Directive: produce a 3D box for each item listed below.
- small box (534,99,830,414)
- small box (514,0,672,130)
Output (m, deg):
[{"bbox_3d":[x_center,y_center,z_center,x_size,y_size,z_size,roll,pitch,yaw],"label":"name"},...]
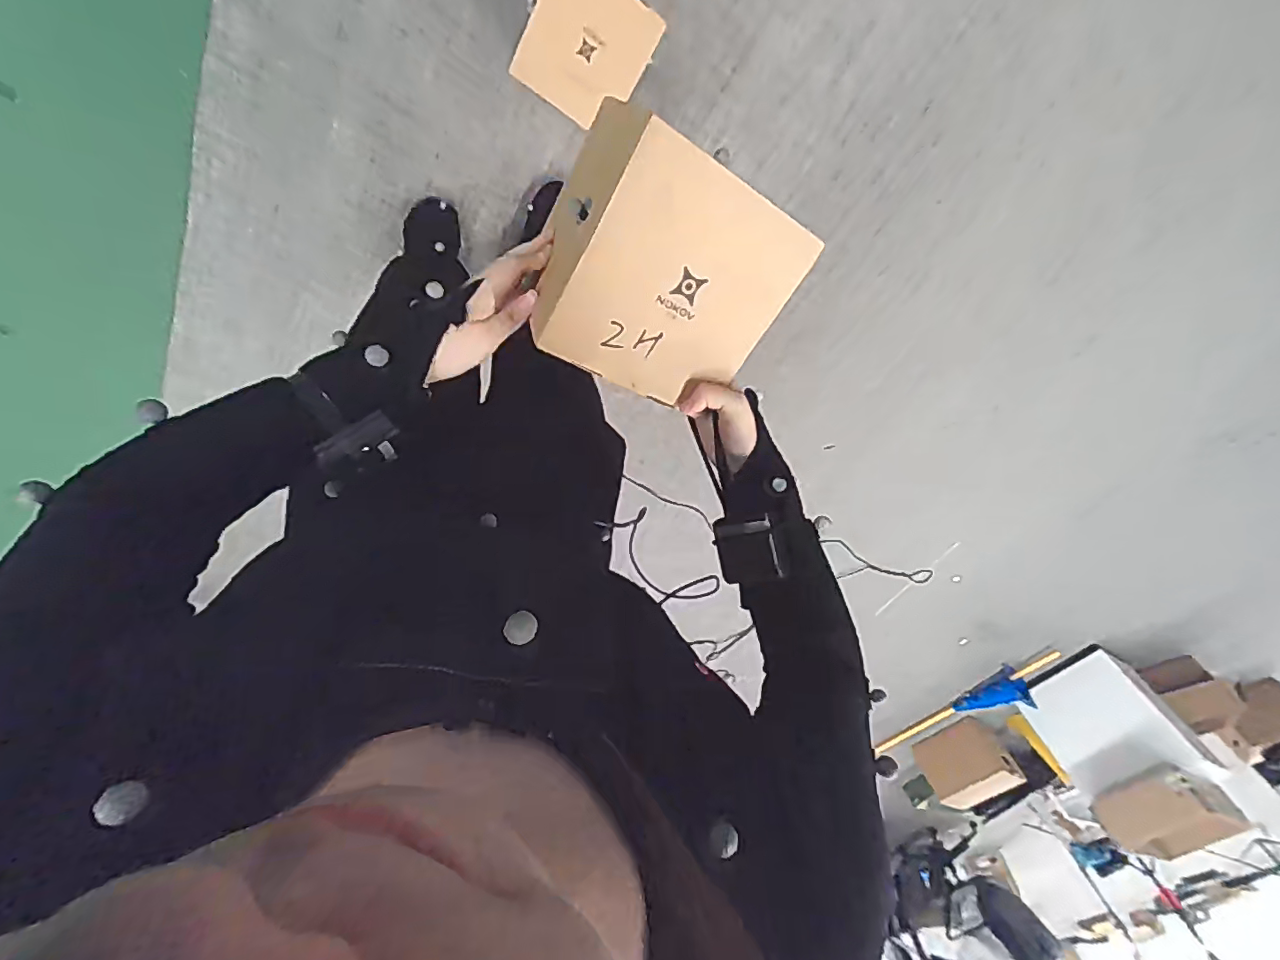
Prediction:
[{"bbox_3d":[0.017,-0.193,0.466,0.168,0.176,0.179,20,119,-28],"label":"small box"},{"bbox_3d":[-0.078,-0.658,0.821,0.168,0.176,0.179,24,121,-24],"label":"small box"}]
